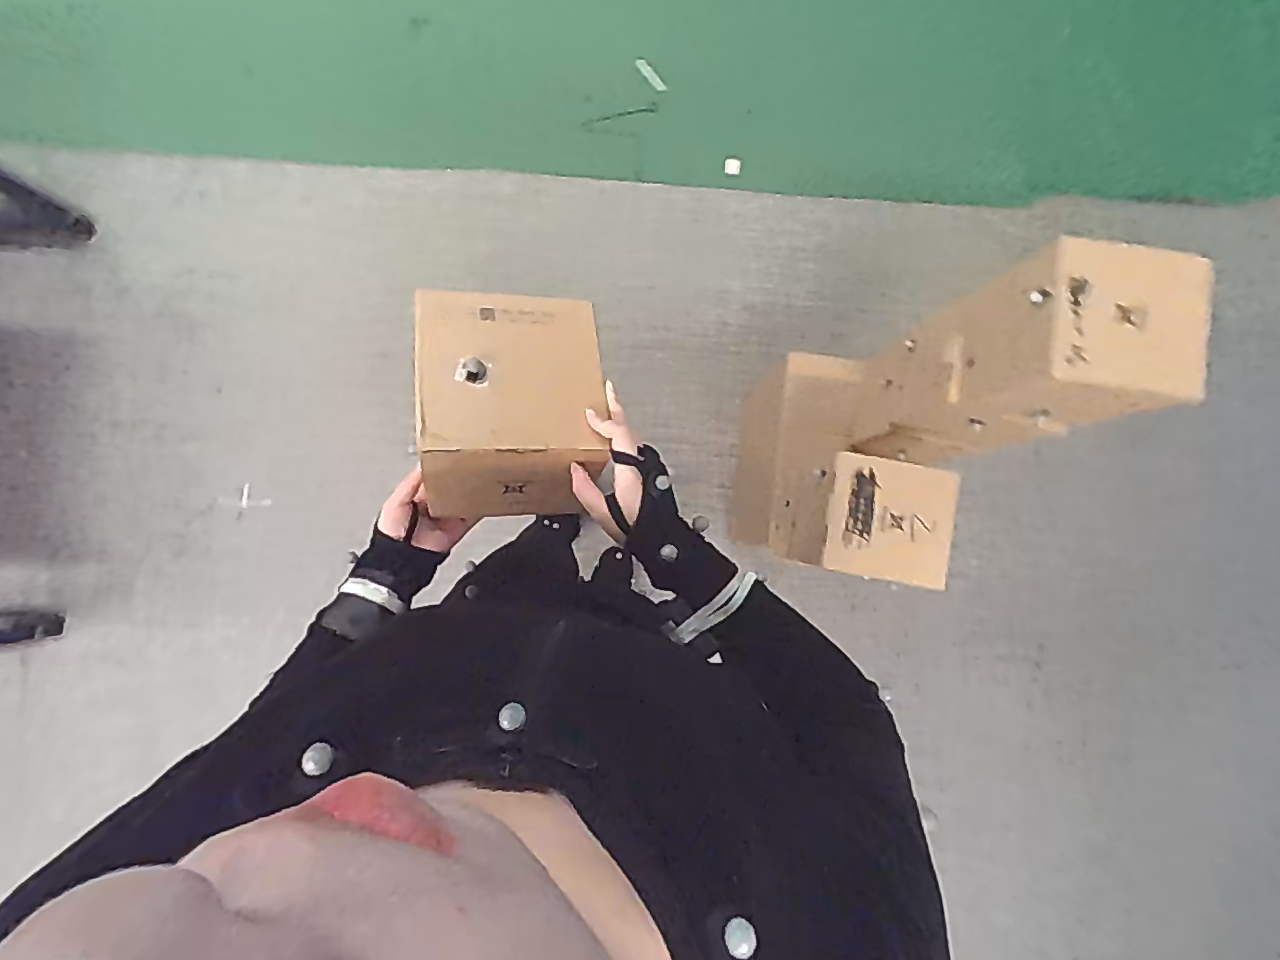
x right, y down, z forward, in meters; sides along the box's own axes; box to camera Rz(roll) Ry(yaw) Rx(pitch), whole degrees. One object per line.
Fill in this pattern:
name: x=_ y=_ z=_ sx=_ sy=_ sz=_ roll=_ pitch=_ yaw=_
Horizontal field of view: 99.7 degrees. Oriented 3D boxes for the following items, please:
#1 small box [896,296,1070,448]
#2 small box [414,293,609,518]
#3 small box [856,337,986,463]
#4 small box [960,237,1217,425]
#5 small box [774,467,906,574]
small box: x=0.532 y=-0.156 z=0.840 sx=0.179 sy=0.176 sz=0.168 roll=16 pitch=86 yaw=-1
small box: x=-0.141 y=-0.071 z=0.562 sx=0.168 sy=0.179 sz=0.176 roll=-2 pitch=68 yaw=-18
small box: x=0.526 y=-0.139 z=1.004 sx=0.168 sy=0.176 sz=0.179 roll=14 pitch=87 yaw=0
small box: x=0.544 y=-0.171 z=0.676 sx=0.179 sy=0.176 sz=0.168 roll=9 pitch=85 yaw=-2
small box: x=0.353 y=0.074 z=0.984 sx=0.179 sy=0.176 sz=0.168 roll=6 pitch=86 yaw=-1
